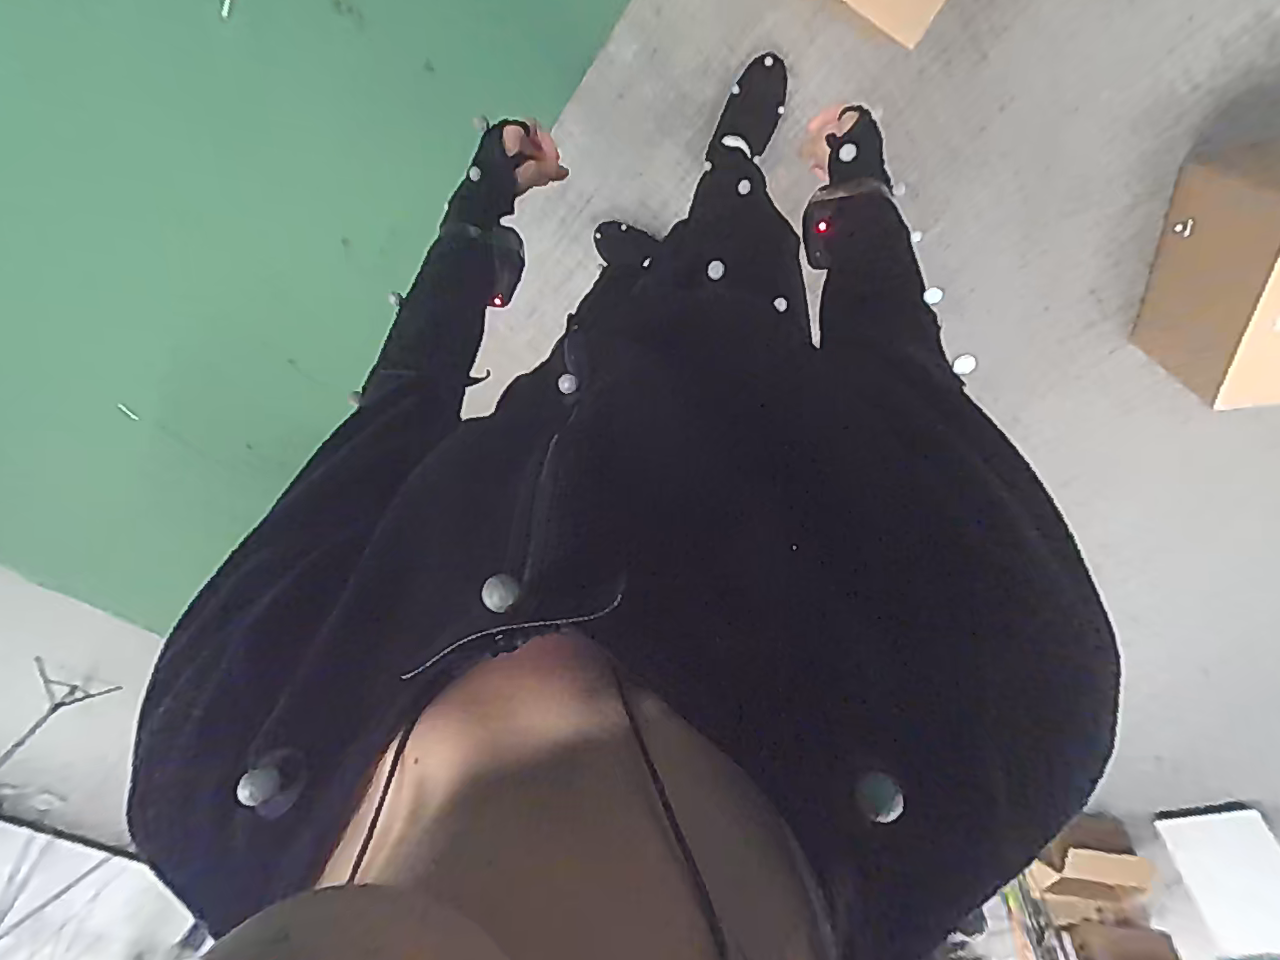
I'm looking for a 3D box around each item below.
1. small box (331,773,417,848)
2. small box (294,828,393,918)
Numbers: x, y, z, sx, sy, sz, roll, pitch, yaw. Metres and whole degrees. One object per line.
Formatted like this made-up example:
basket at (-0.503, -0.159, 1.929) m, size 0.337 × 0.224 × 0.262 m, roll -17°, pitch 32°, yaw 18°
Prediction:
small box at (-0.842, 1.060, 1.720) m, size 0.168 × 0.176 × 0.179 m, roll 39°, pitch 124°, yaw -21°
small box at (-0.865, 1.155, 1.592) m, size 0.179 × 0.176 × 0.168 m, roll 37°, pitch 125°, yaw -19°
